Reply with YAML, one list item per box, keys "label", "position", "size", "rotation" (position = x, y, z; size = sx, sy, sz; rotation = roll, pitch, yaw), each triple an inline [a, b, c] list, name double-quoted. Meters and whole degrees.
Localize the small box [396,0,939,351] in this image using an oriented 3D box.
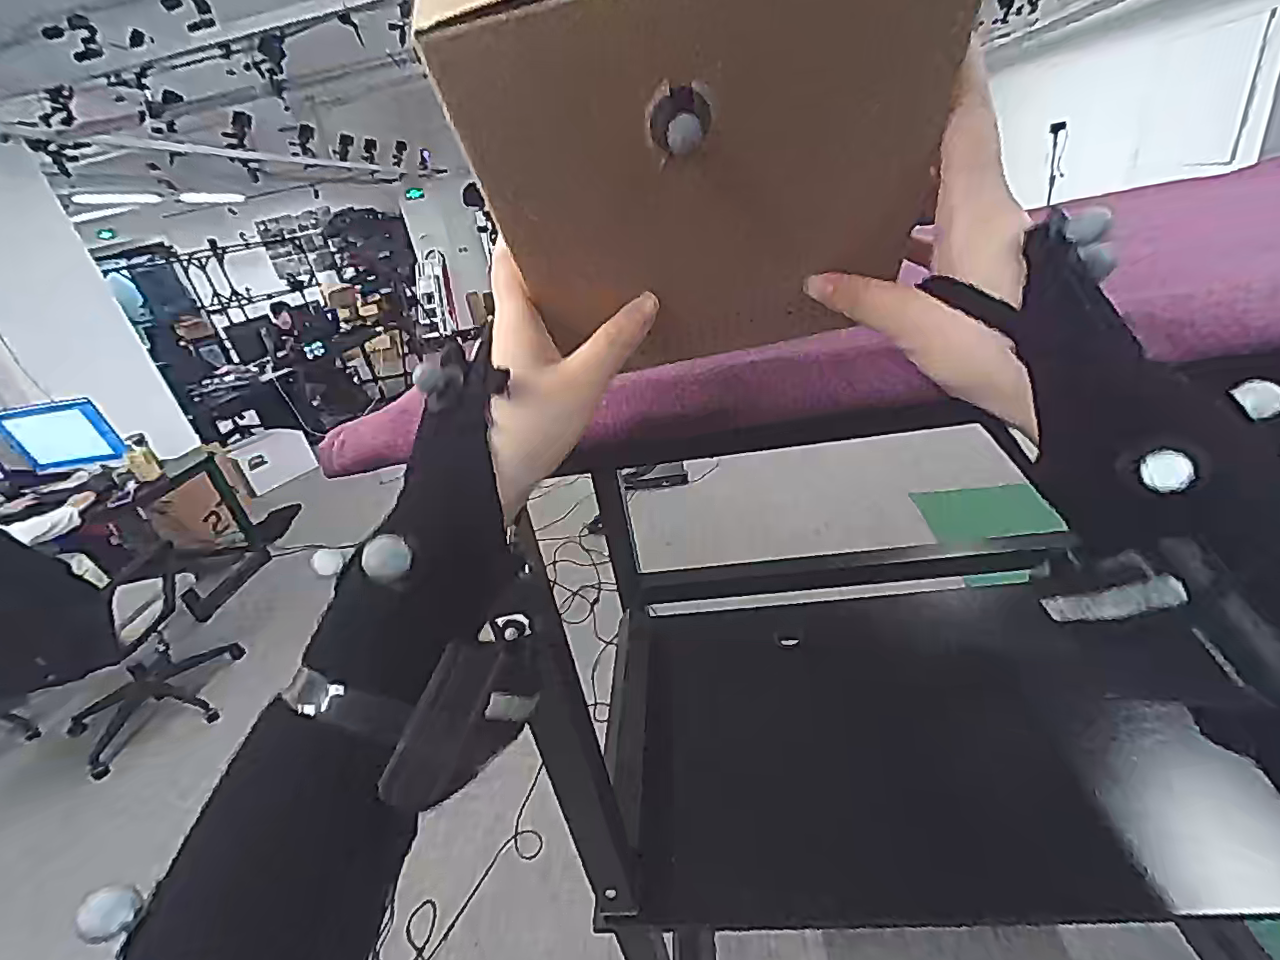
- label: "small box"
  position: [0.019, -0.184, 0.255]
  size: [0.179, 0.176, 0.168]
  rotation: [-10, 60, 5]
